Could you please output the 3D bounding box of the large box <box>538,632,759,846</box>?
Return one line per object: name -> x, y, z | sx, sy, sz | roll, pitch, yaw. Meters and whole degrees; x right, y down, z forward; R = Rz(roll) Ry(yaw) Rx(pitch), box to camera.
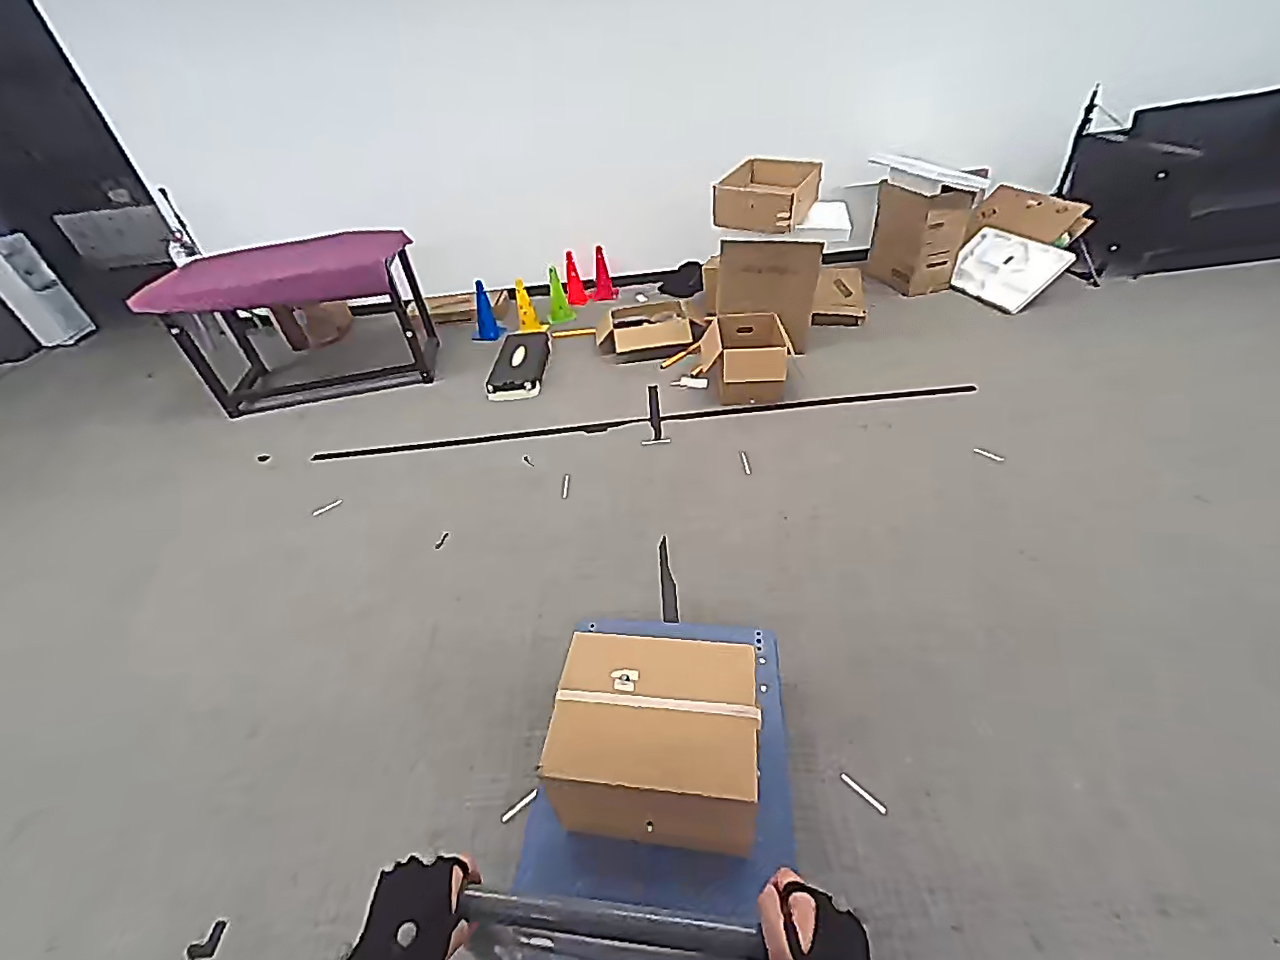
large box -> 0.044, 0.552, 1.168 | 0.408, 0.320, 0.320 | 0, 39, 10
